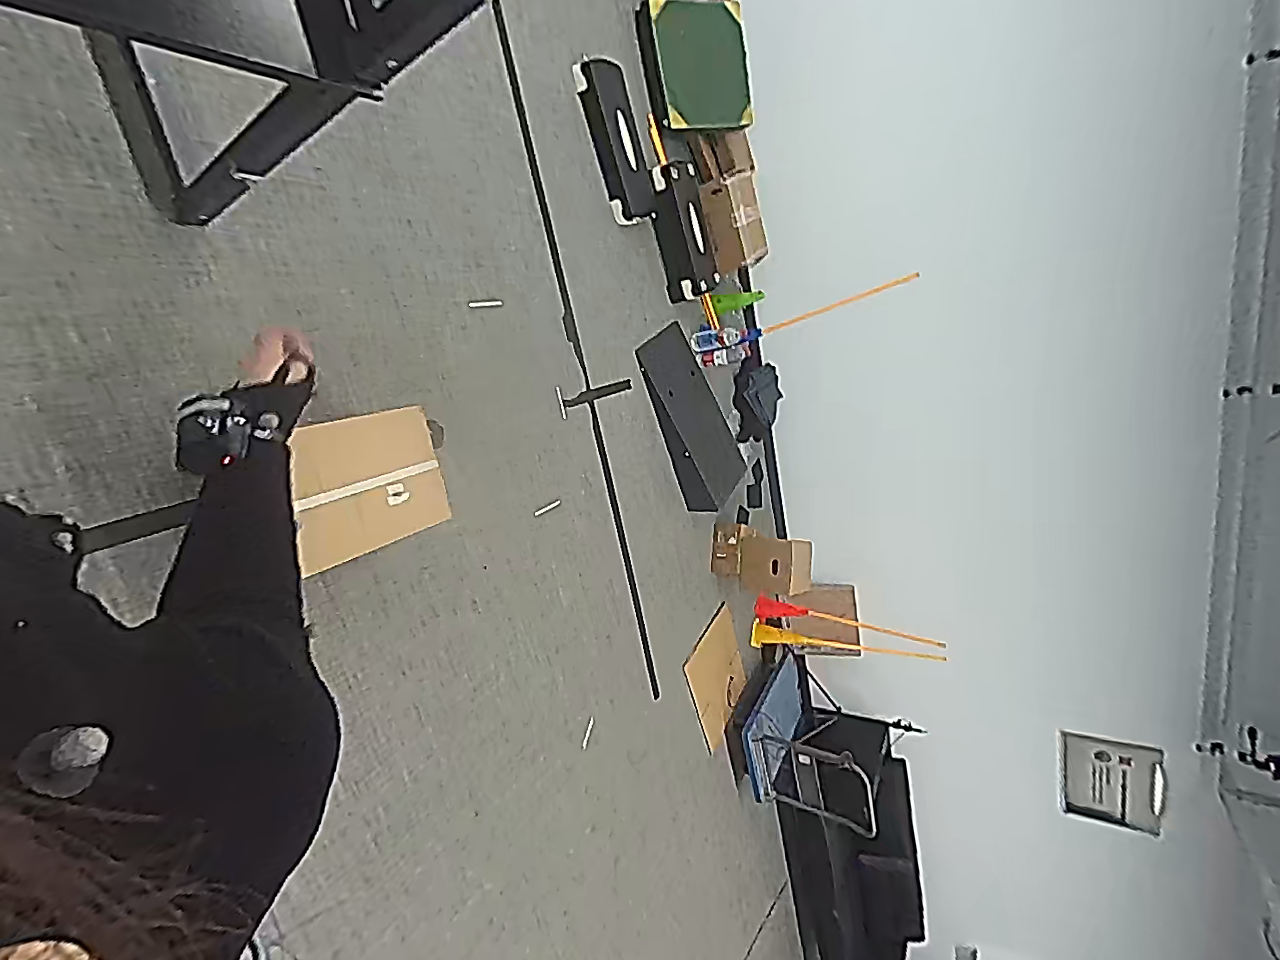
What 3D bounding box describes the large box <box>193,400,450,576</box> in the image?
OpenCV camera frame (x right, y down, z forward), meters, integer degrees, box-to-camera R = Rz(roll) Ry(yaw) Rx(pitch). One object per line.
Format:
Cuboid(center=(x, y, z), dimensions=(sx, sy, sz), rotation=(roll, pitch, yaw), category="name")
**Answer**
Cuboid(center=(-0.761, 0.006, 1.331), dimensions=(0.408, 0.320, 0.320), rotation=(-28, 113, -53), category="large box")
